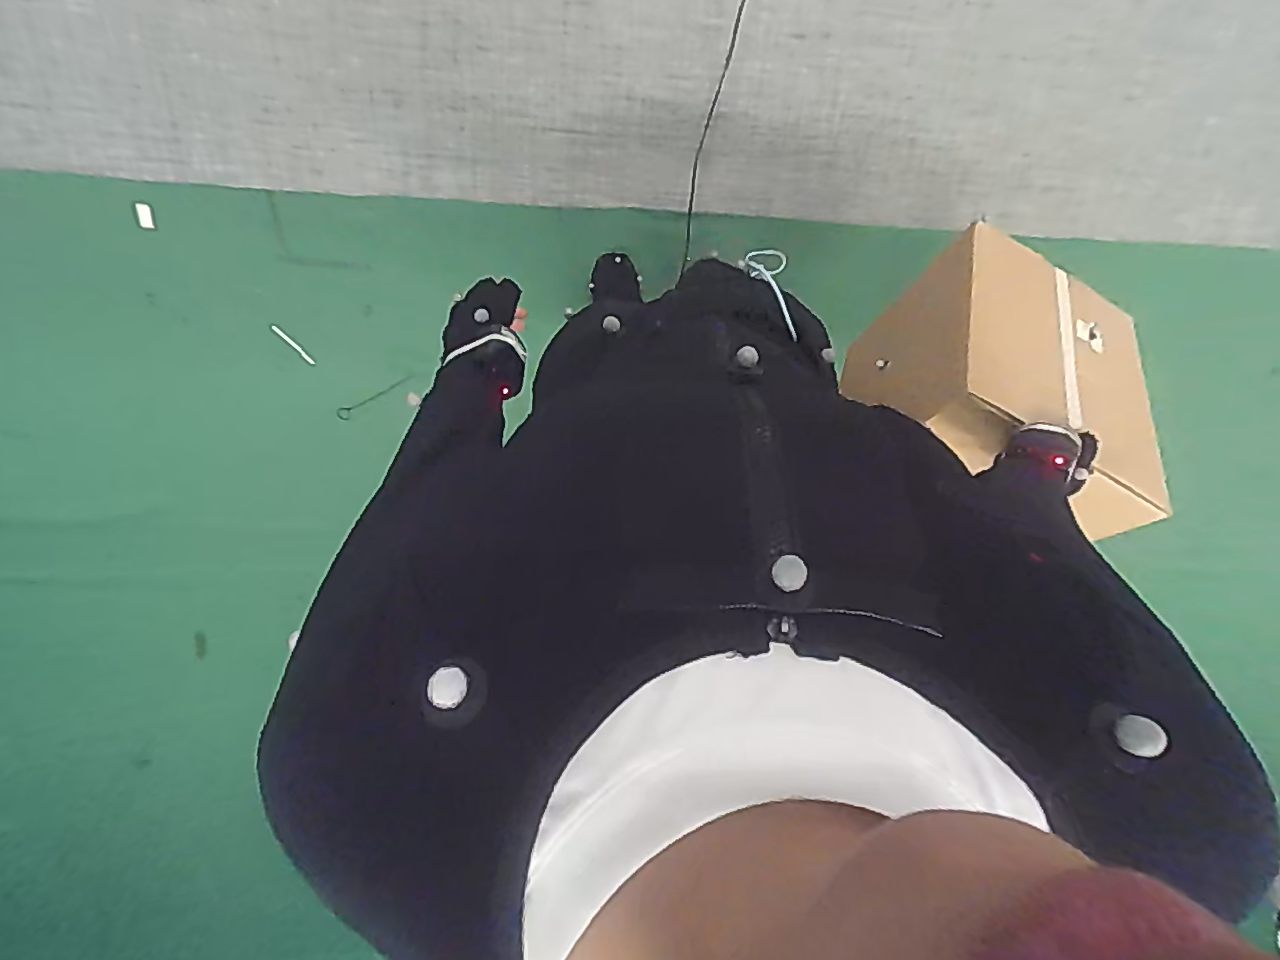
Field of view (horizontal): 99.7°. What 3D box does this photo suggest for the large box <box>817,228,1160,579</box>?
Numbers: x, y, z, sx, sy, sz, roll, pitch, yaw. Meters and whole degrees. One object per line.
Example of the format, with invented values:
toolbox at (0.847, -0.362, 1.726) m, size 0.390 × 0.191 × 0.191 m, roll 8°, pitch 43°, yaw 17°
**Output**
large box at (0.535, -0.112, 0.889) m, size 0.320 × 0.408 × 0.320 m, roll 29°, pitch 147°, yaw -7°
